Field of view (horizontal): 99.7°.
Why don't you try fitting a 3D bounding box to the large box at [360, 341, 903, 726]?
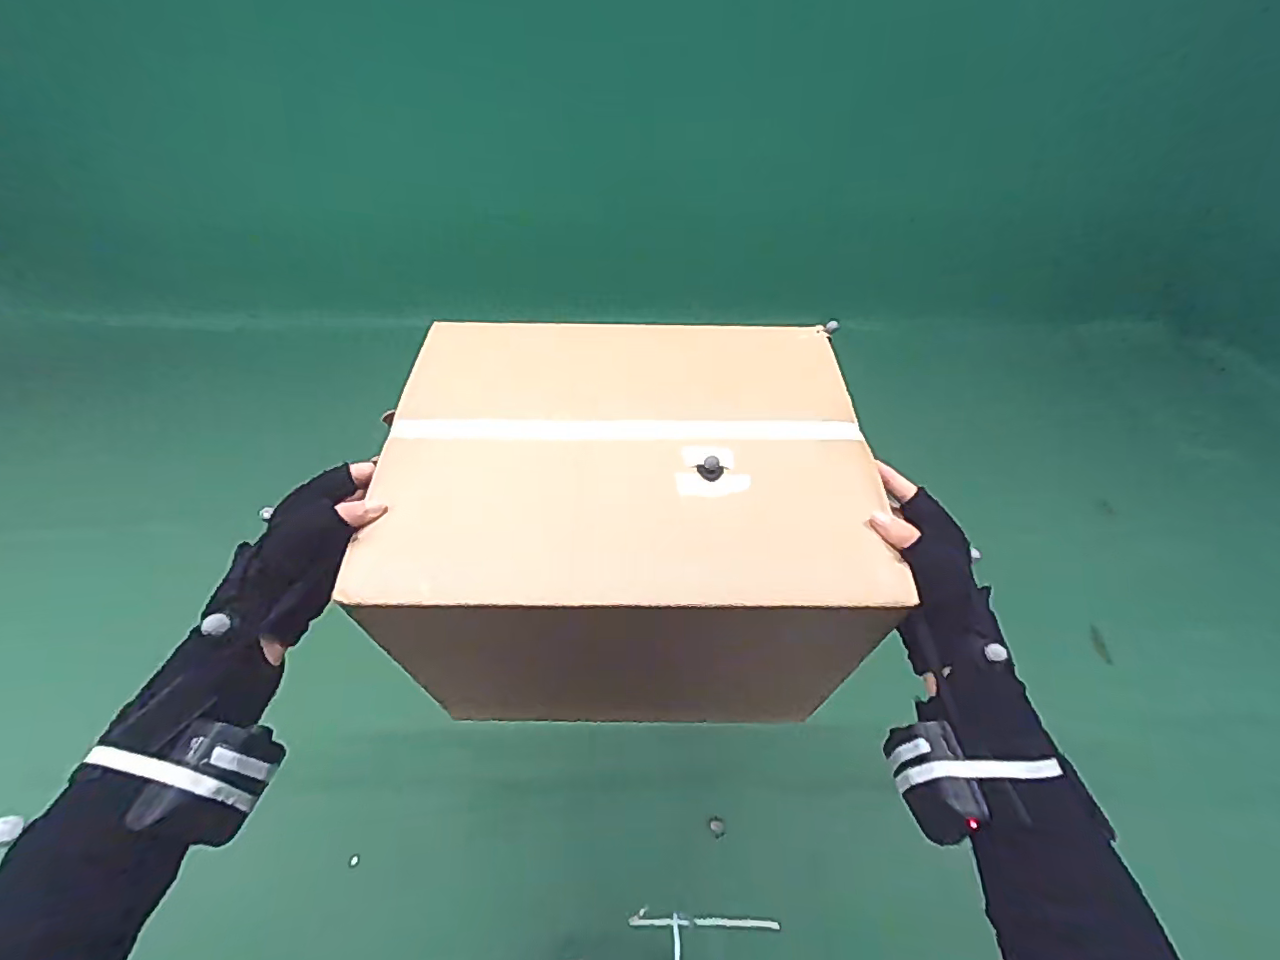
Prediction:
[{"bbox_3d":[-0.012,0.065,0.596,0.408,0.320,0.320,1,52,-2],"label":"large box"}]
